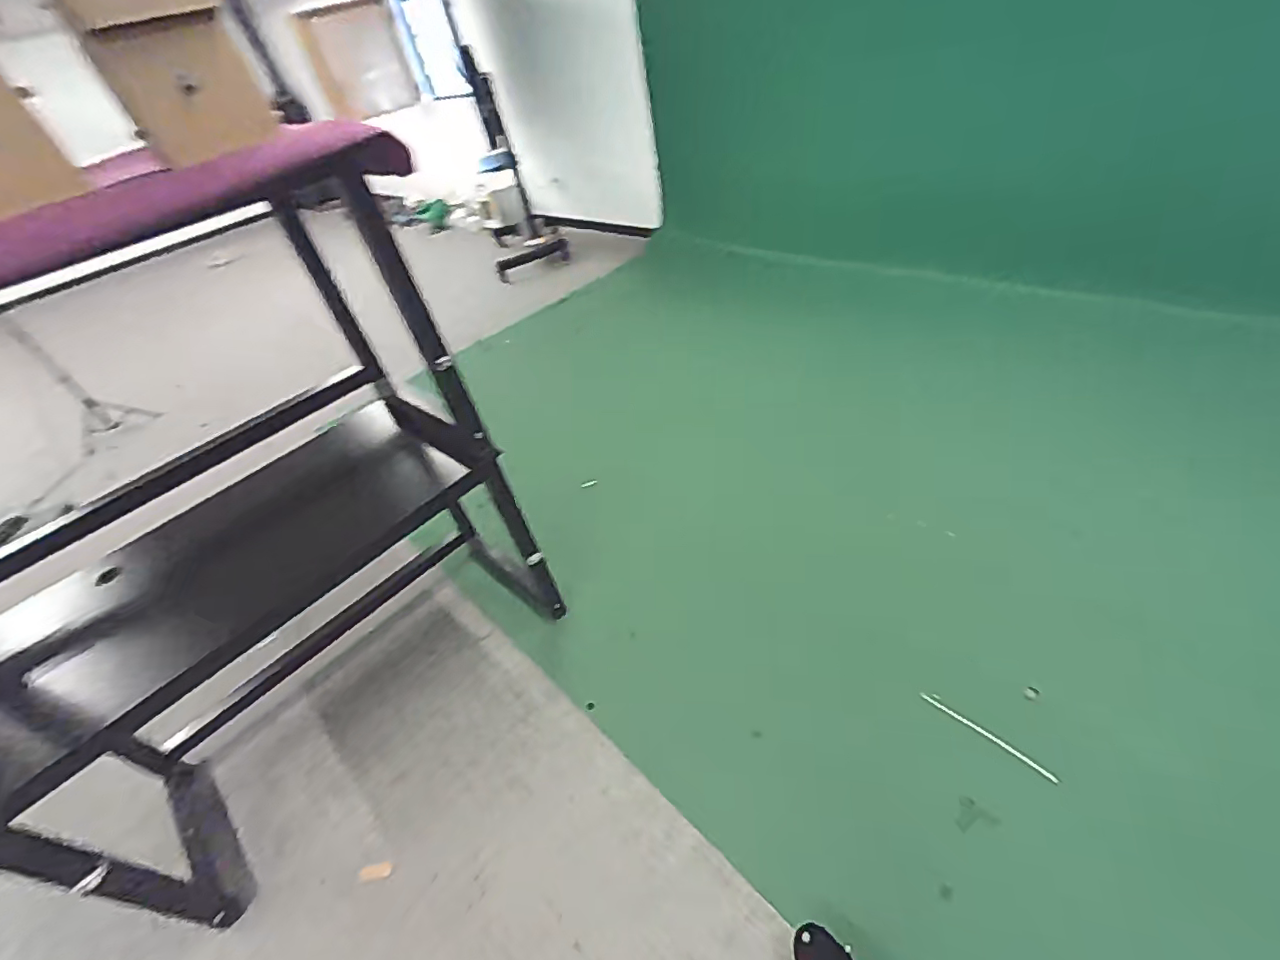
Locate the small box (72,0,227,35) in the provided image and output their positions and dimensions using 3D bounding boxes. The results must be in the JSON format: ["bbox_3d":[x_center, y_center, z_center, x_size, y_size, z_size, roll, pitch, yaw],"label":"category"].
[{"bbox_3d":[-0.713,-0.738,0.745,0.168,0.176,0.179,28,56,37],"label":"small box"}]

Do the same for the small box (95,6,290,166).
[{"bbox_3d":[-0.700,-0.625,0.865,0.168,0.176,0.179,28,57,38],"label":"small box"}]
